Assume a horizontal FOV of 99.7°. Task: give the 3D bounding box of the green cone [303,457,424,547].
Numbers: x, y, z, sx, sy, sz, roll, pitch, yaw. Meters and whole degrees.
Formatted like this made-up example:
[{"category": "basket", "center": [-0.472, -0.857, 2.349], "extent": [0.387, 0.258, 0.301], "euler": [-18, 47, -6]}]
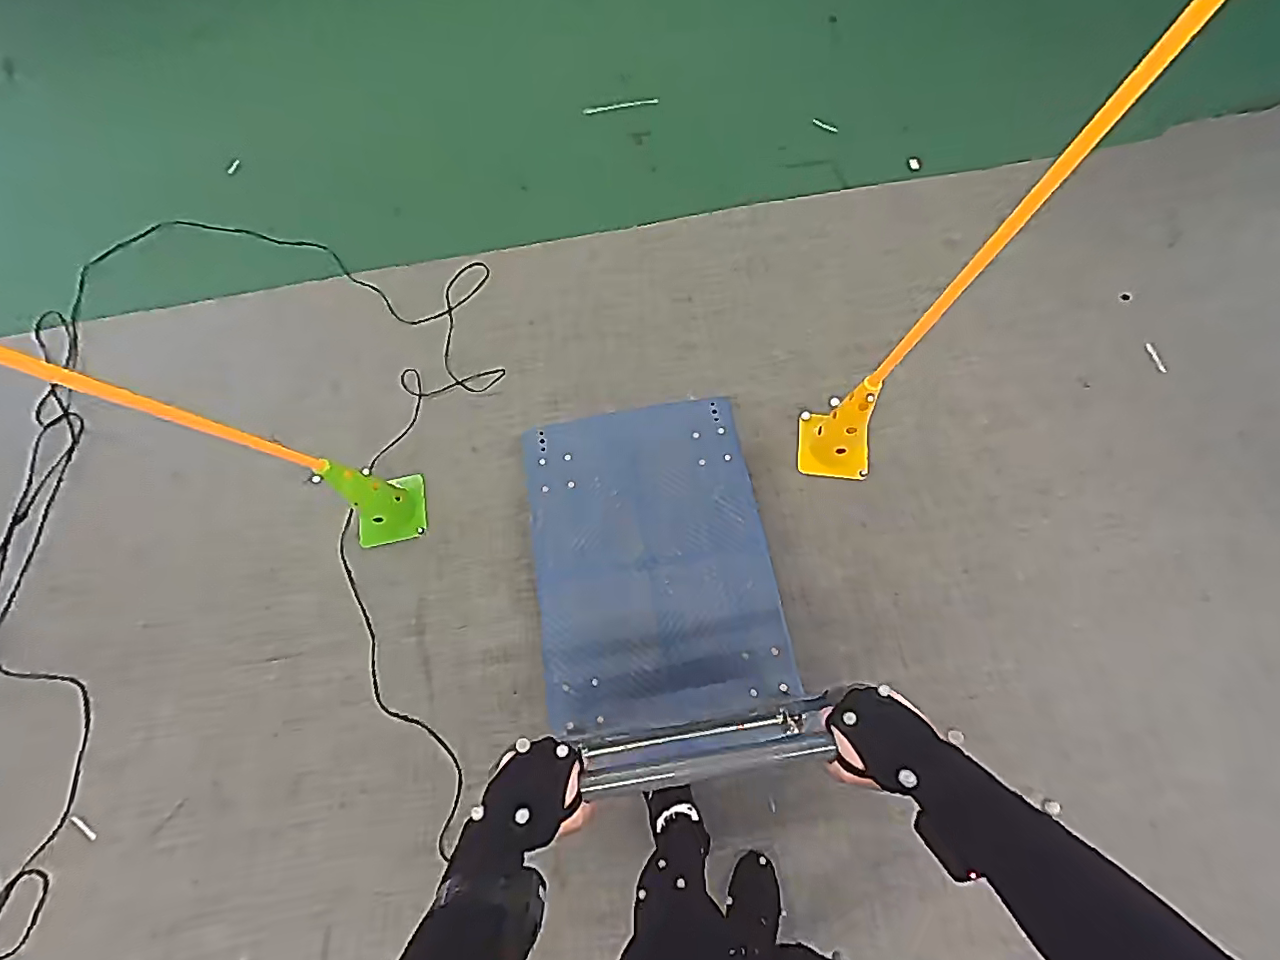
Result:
[{"category": "green cone", "center": [-0.760, 0.023, 1.448], "extent": [0.202, 0.368, 0.200], "euler": [-14, 68, 0]}]
